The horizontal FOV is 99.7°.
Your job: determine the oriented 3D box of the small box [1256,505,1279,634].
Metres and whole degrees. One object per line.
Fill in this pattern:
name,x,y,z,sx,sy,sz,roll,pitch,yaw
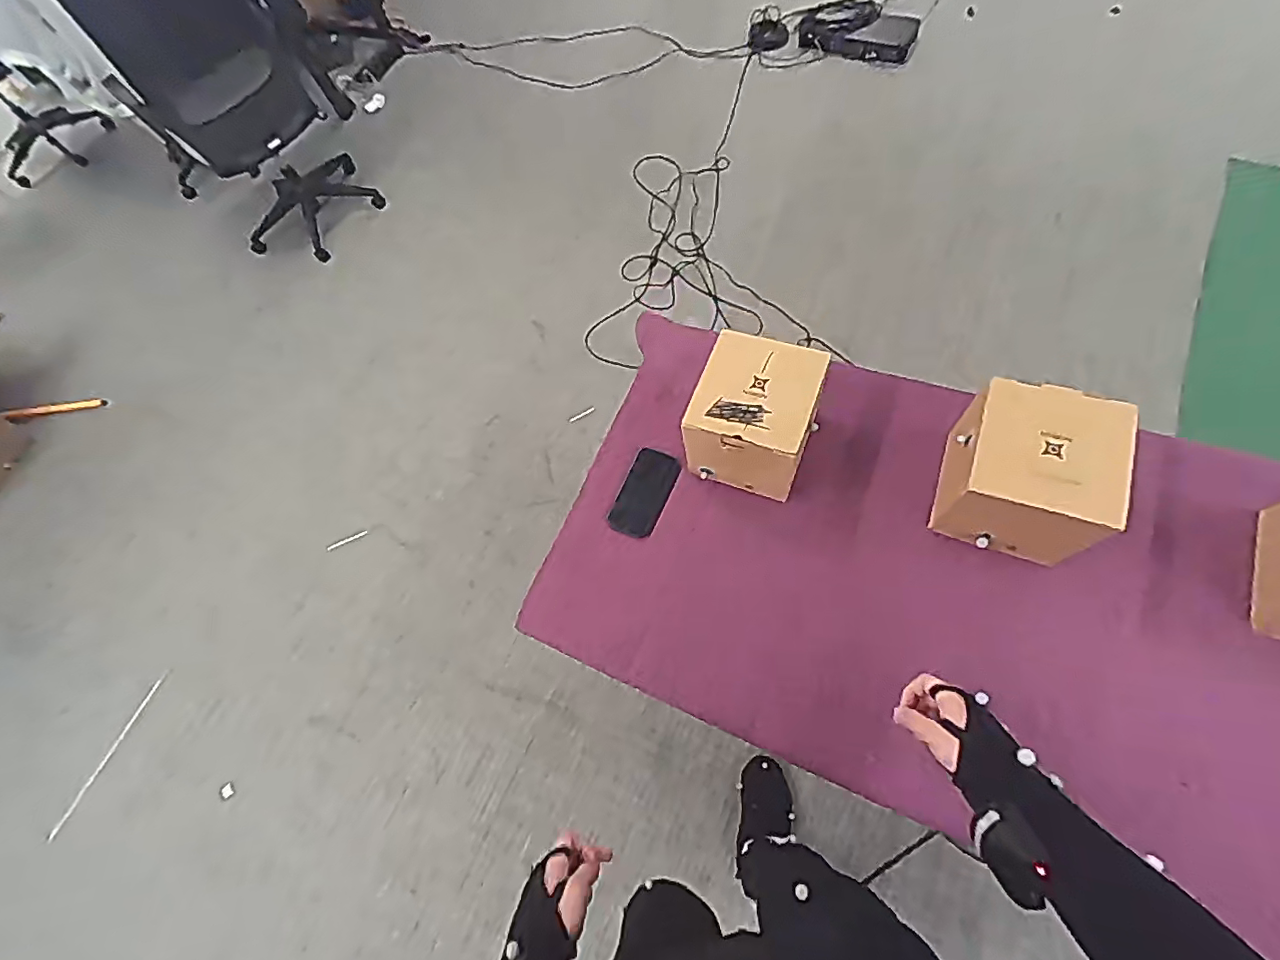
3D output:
small box,0.864,0.102,0.608,0.168,0.176,0.179,19,71,19

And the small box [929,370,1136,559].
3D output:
small box,0.514,-0.015,0.730,0.168,0.176,0.179,17,72,18

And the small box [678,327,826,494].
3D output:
small box,0.172,-0.099,0.830,0.168,0.176,0.179,18,71,17
